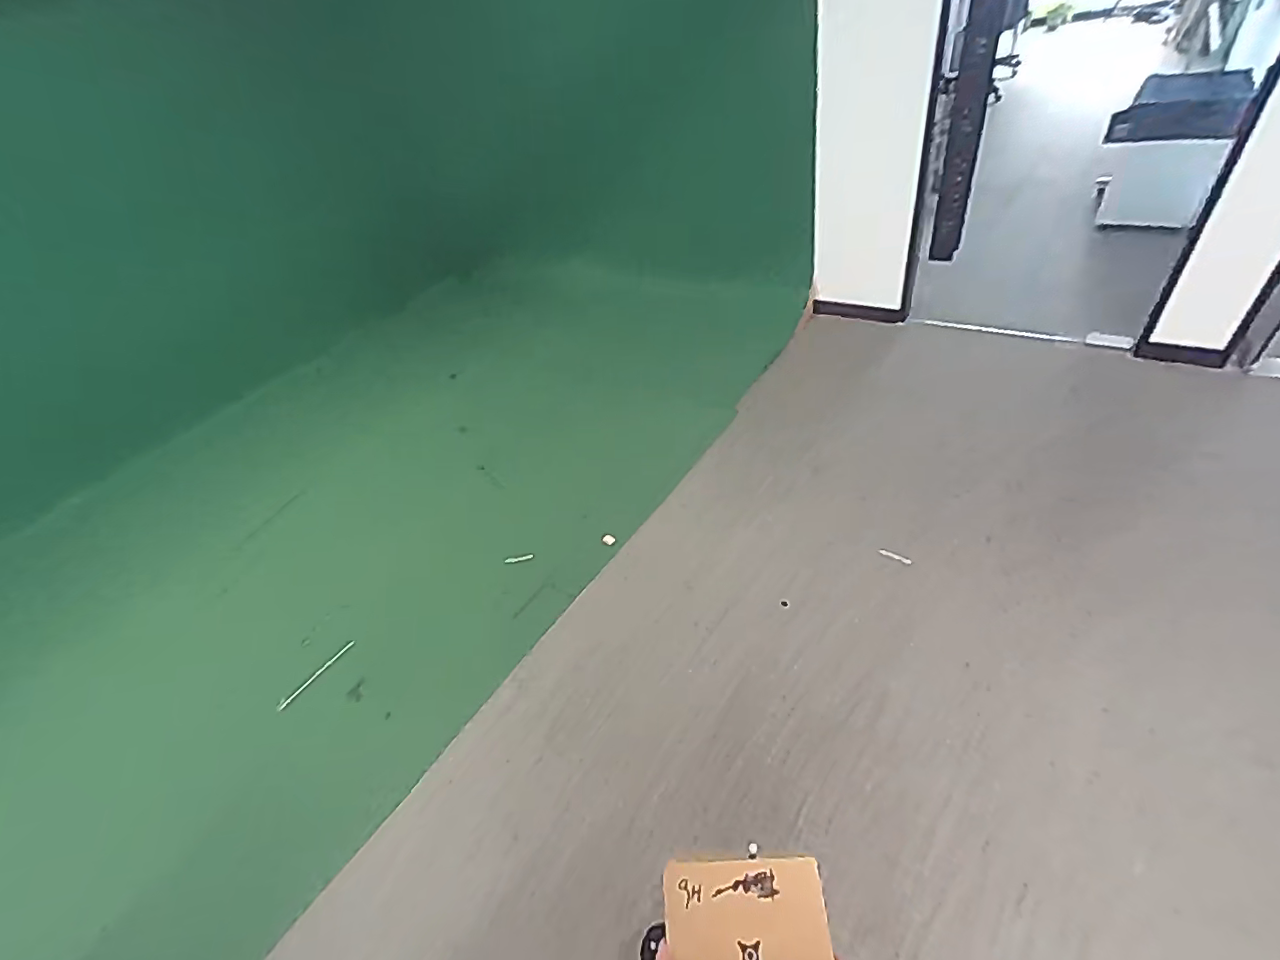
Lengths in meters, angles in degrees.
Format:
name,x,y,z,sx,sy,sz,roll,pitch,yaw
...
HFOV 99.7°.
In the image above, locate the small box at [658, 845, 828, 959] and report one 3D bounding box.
name,x,y,z,sx,sy,sz,roll,pitch,yaw
small box,0.113,0.513,0.594,0.168,0.176,0.179,-6,58,6
